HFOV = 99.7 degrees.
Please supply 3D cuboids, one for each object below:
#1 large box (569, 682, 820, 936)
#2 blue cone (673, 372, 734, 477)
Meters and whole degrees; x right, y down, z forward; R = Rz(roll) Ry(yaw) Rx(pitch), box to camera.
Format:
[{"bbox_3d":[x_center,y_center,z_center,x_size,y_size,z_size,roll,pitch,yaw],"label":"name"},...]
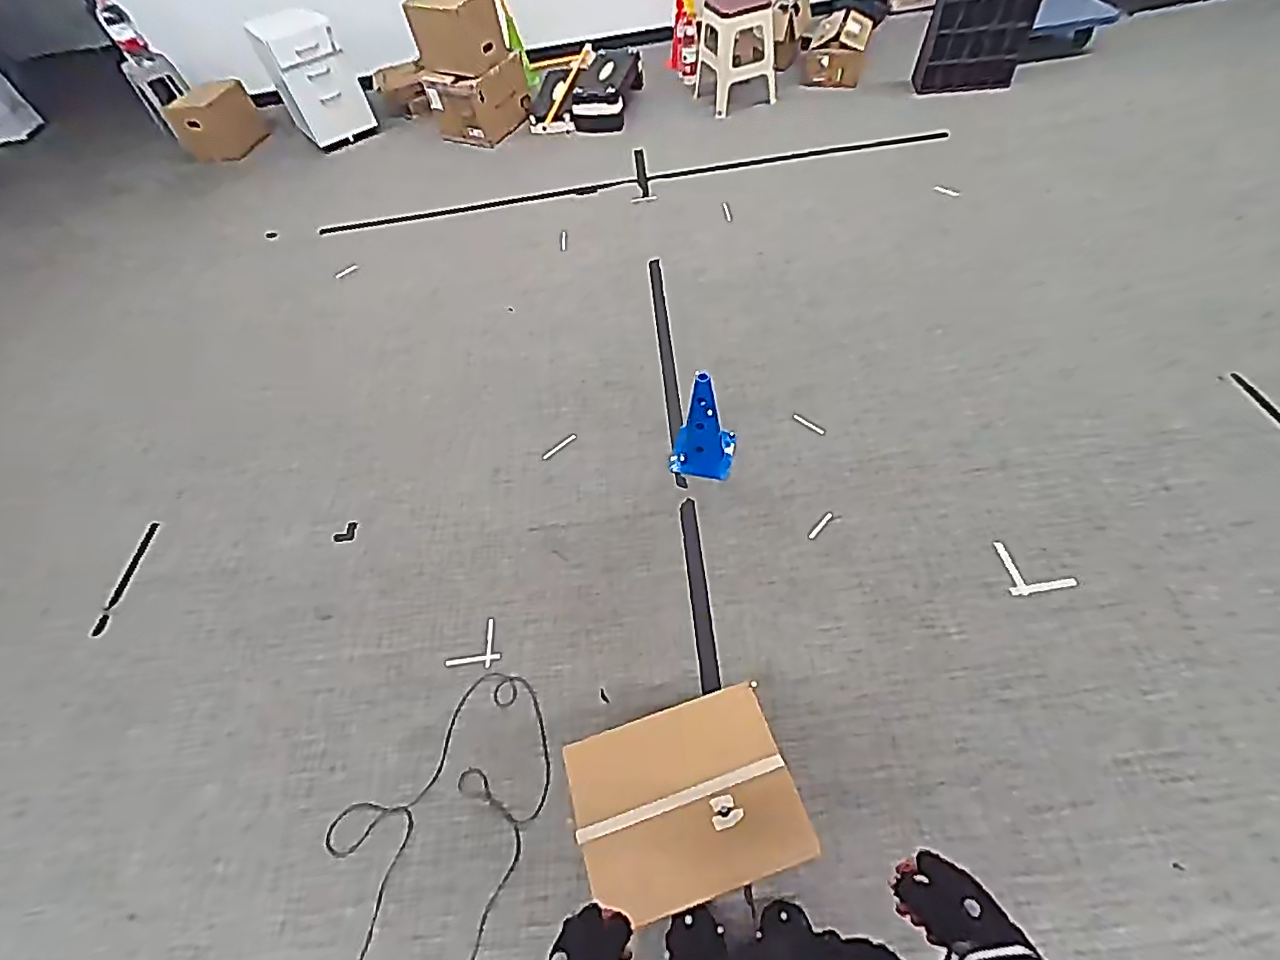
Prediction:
[{"bbox_3d":[0.105,0.683,1.136,0.408,0.320,0.320,-18,54,-5],"label":"large box"},{"bbox_3d":[0.199,-0.186,1.700,0.193,0.380,0.192,10,57,14],"label":"blue cone"}]
